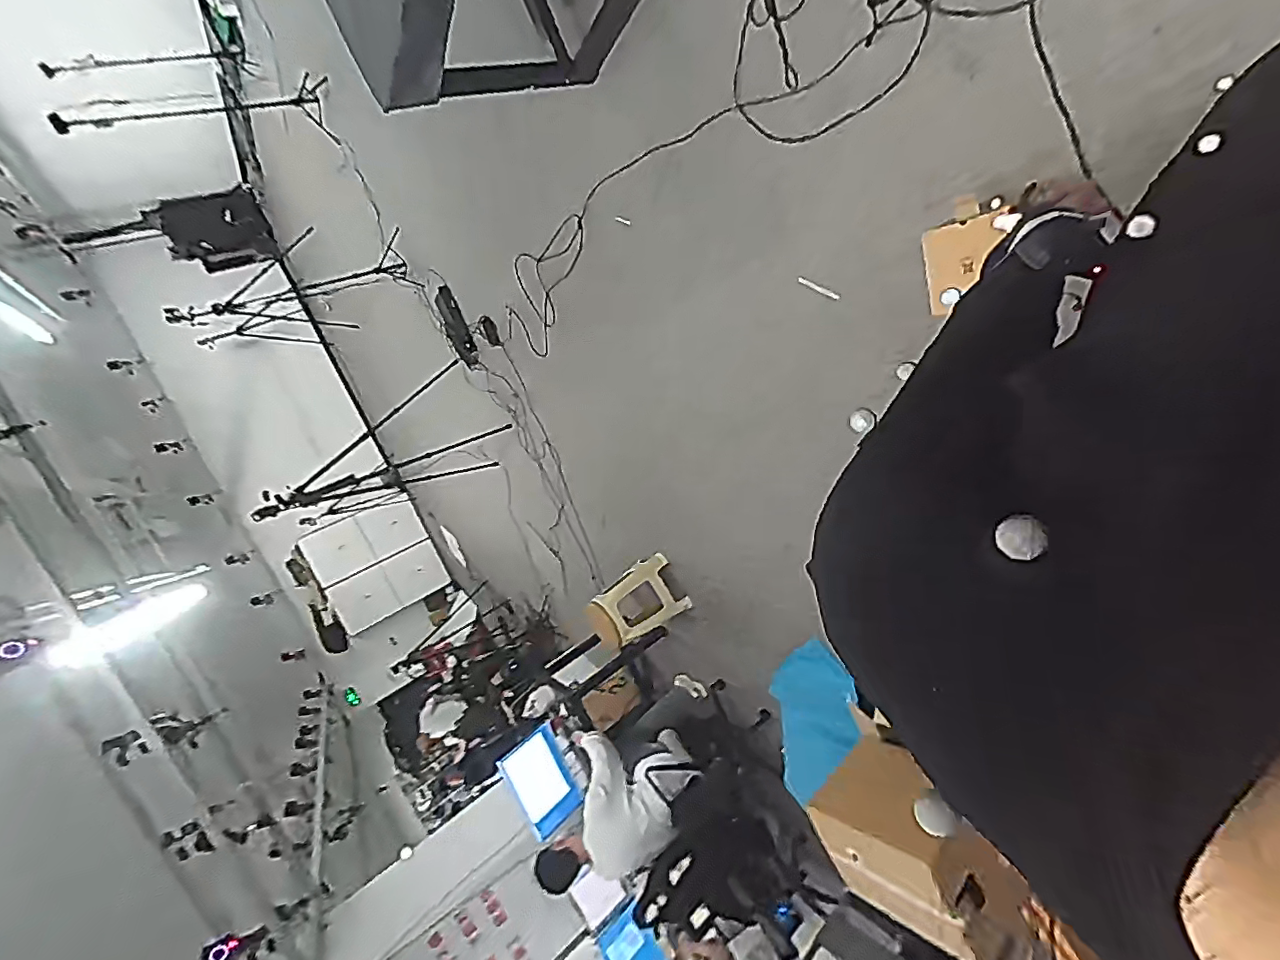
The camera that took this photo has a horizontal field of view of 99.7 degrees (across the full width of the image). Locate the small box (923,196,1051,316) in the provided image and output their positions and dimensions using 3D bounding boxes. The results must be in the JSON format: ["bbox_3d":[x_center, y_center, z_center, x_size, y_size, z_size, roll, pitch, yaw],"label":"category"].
[{"bbox_3d":[0.711,-0.454,1.103,0.168,0.176,0.179,8,121,55],"label":"small box"}]
